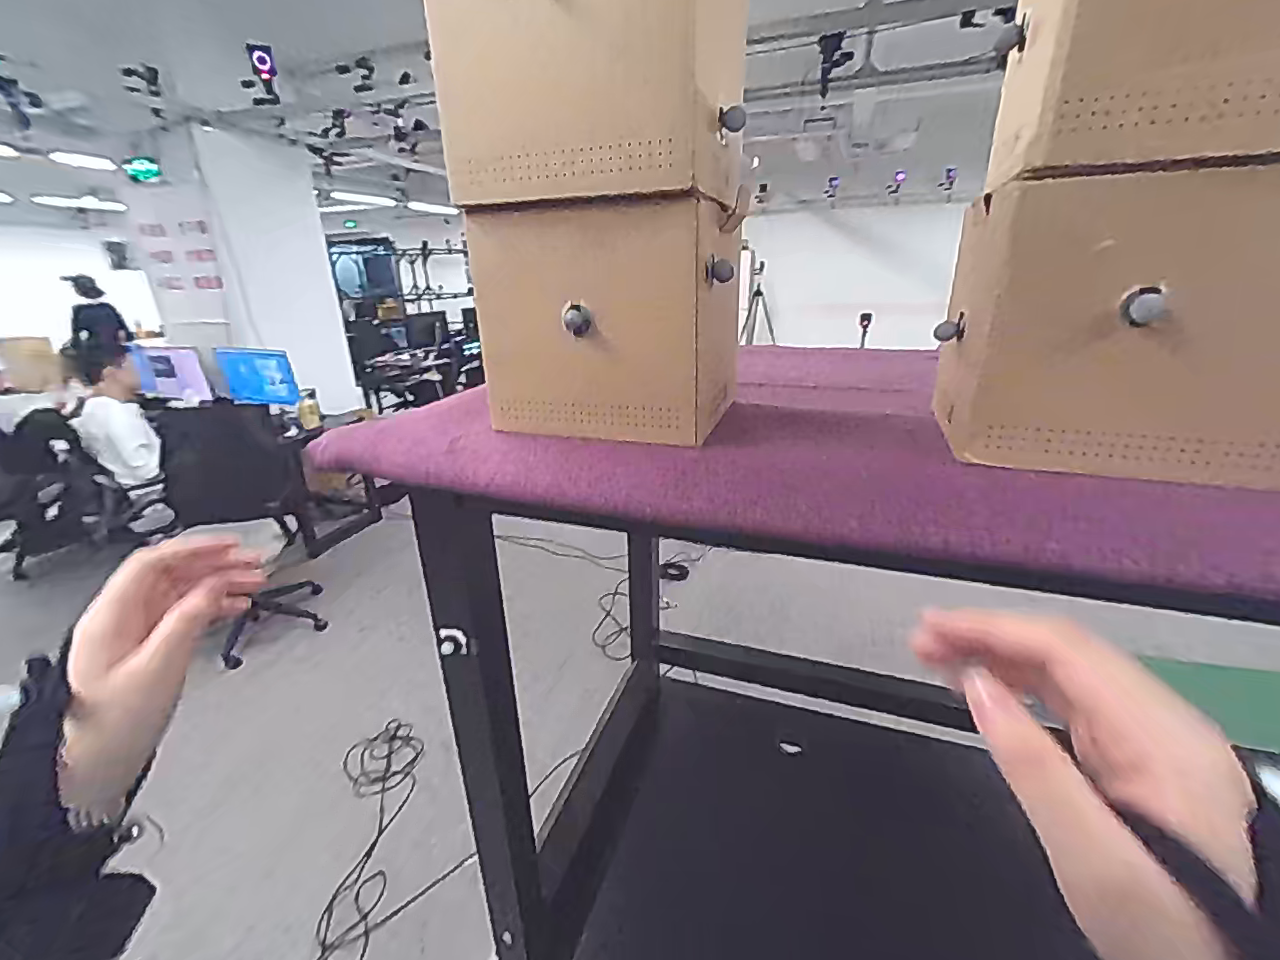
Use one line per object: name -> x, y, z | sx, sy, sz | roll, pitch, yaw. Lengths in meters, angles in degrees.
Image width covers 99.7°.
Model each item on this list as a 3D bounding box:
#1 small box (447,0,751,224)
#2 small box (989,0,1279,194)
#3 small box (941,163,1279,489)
small box -> -0.022, -0.284, 0.390 | 0.179, 0.176, 0.168 | 7, 23, 18
small box -> 0.312, -0.252, 0.298 | 0.179, 0.176, 0.168 | 9, 23, 22
small box -> 0.314, -0.102, 0.362 | 0.179, 0.176, 0.168 | 6, 23, 20
